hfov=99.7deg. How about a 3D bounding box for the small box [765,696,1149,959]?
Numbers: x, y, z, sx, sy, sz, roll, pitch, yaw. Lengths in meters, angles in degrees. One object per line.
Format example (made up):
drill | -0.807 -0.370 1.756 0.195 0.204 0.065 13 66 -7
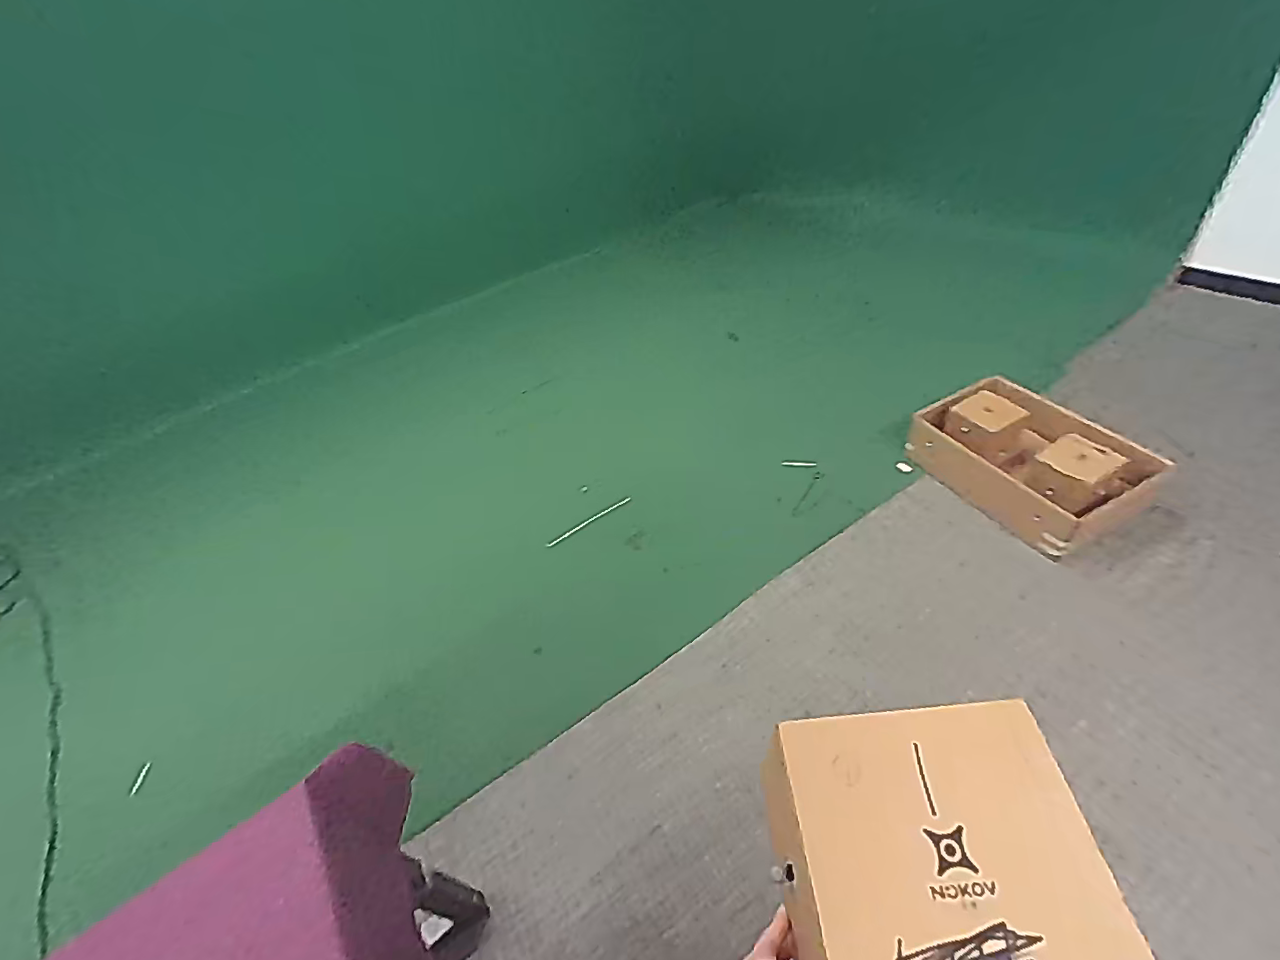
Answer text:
small box | 0.185 0.267 0.368 0.168 0.176 0.179 -6 50 3

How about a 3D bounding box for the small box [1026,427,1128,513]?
small box | 1.338 -0.028 1.670 0.179 0.176 0.168 -29 45 -13
